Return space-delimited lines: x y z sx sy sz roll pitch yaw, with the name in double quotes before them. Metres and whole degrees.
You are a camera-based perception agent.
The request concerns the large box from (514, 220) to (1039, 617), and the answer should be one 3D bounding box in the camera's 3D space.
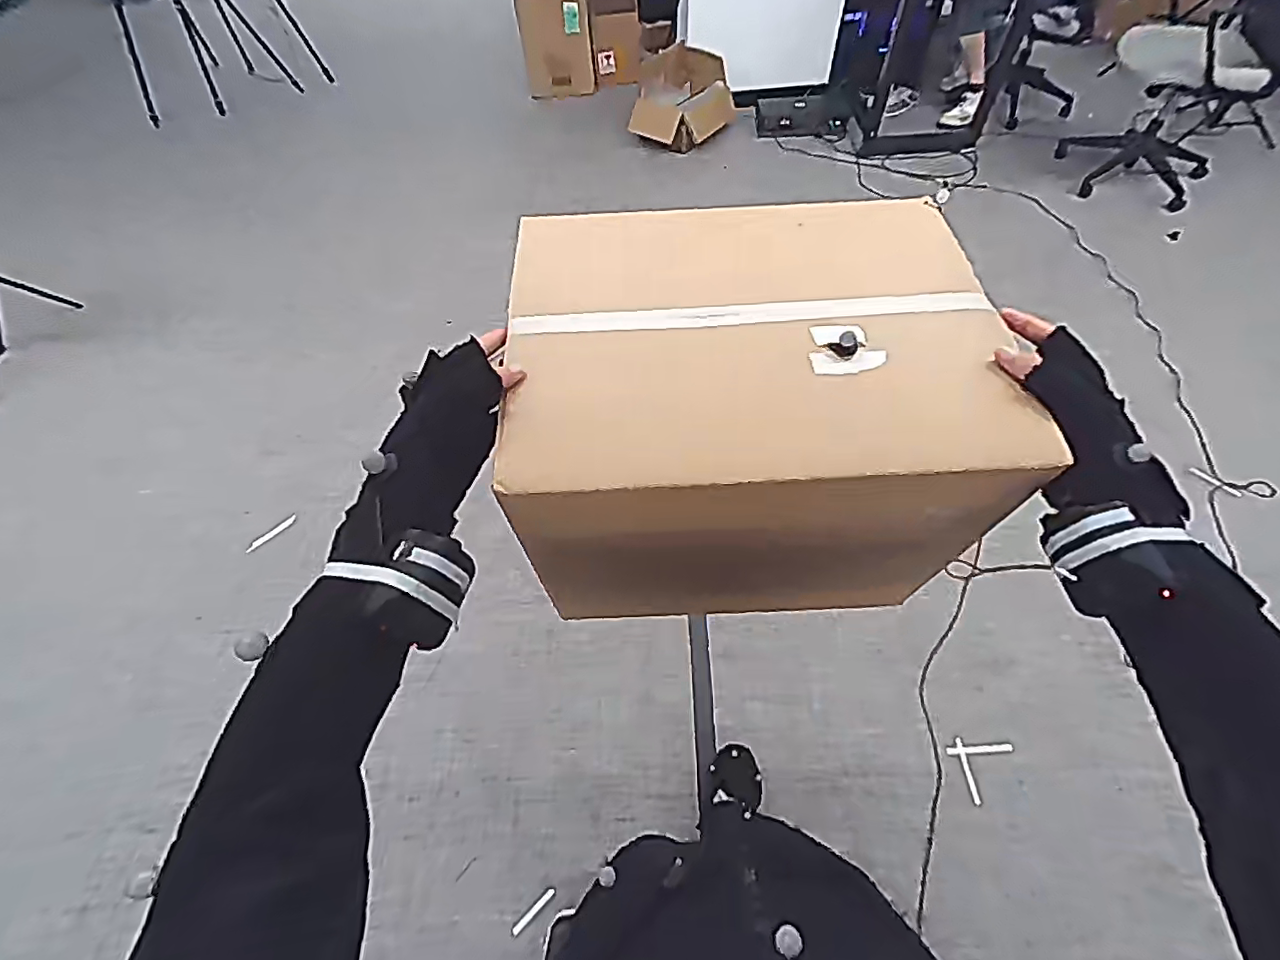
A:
"large box" 0.097 -0.051 0.603 0.408 0.320 0.320 -3 60 0
